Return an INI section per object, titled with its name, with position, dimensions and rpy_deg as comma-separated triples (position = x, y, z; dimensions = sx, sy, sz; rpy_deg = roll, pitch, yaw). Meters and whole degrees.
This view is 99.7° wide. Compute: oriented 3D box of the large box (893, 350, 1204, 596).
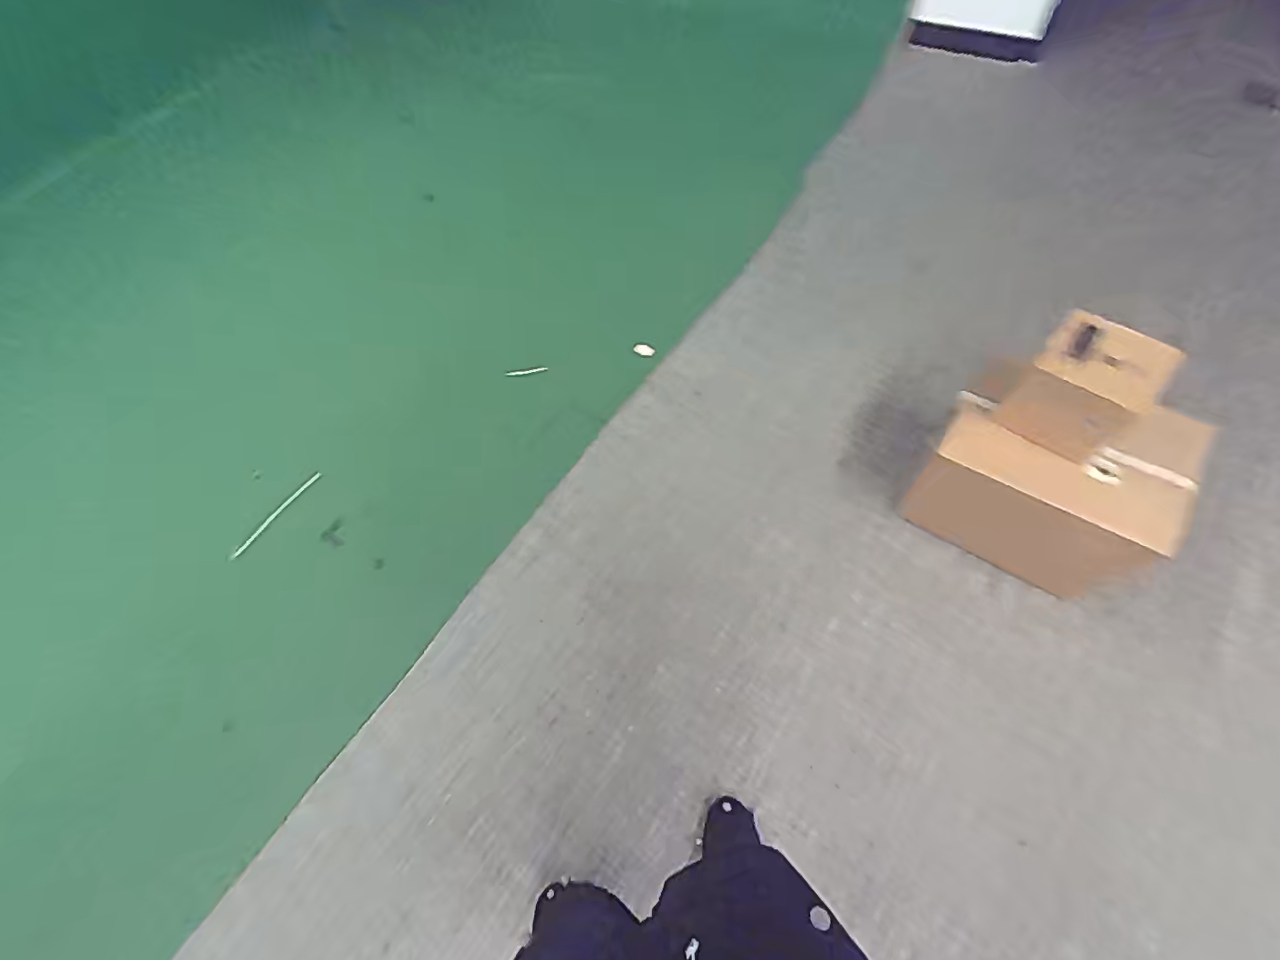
[large box]
position = 0.843, -0.009, 1.177
dimensions = 0.408, 0.320, 0.320
rpy_deg = 30, 72, 19
